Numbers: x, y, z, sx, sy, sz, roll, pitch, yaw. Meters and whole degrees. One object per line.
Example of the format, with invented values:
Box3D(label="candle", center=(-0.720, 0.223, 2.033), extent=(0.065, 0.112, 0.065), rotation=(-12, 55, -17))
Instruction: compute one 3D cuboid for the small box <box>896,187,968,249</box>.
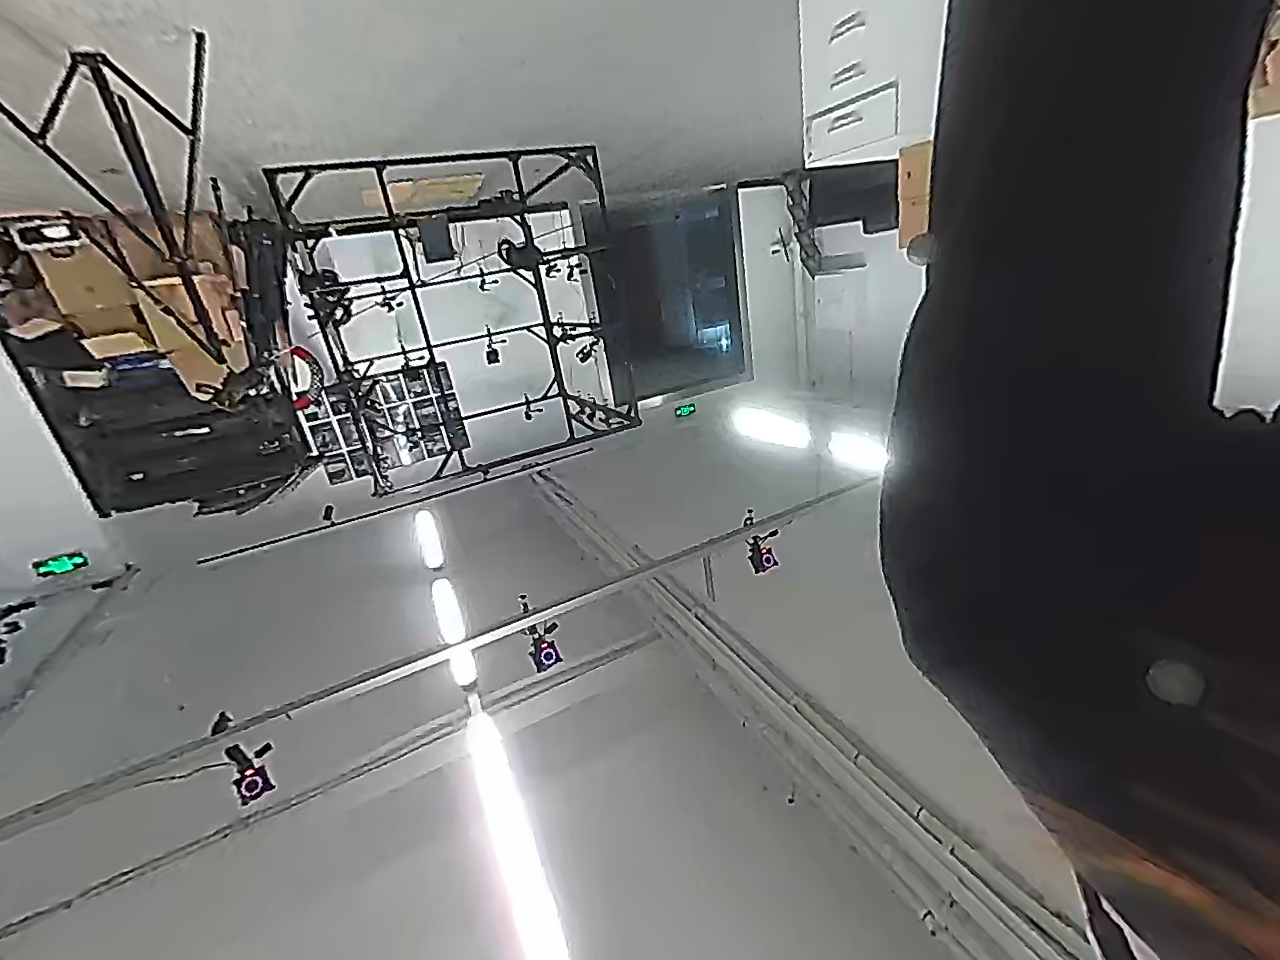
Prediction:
Box3D(label="small box", center=(1.053, -0.948, 1.956), extent=(0.179, 0.176, 0.168), rotation=(-20, -155, -20))

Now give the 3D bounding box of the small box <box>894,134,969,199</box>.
Box3D(label="small box", center=(1.021, -1.096, 1.893), extent=(0.168, 0.176, 0.179), rotation=(-20, -155, -24))
